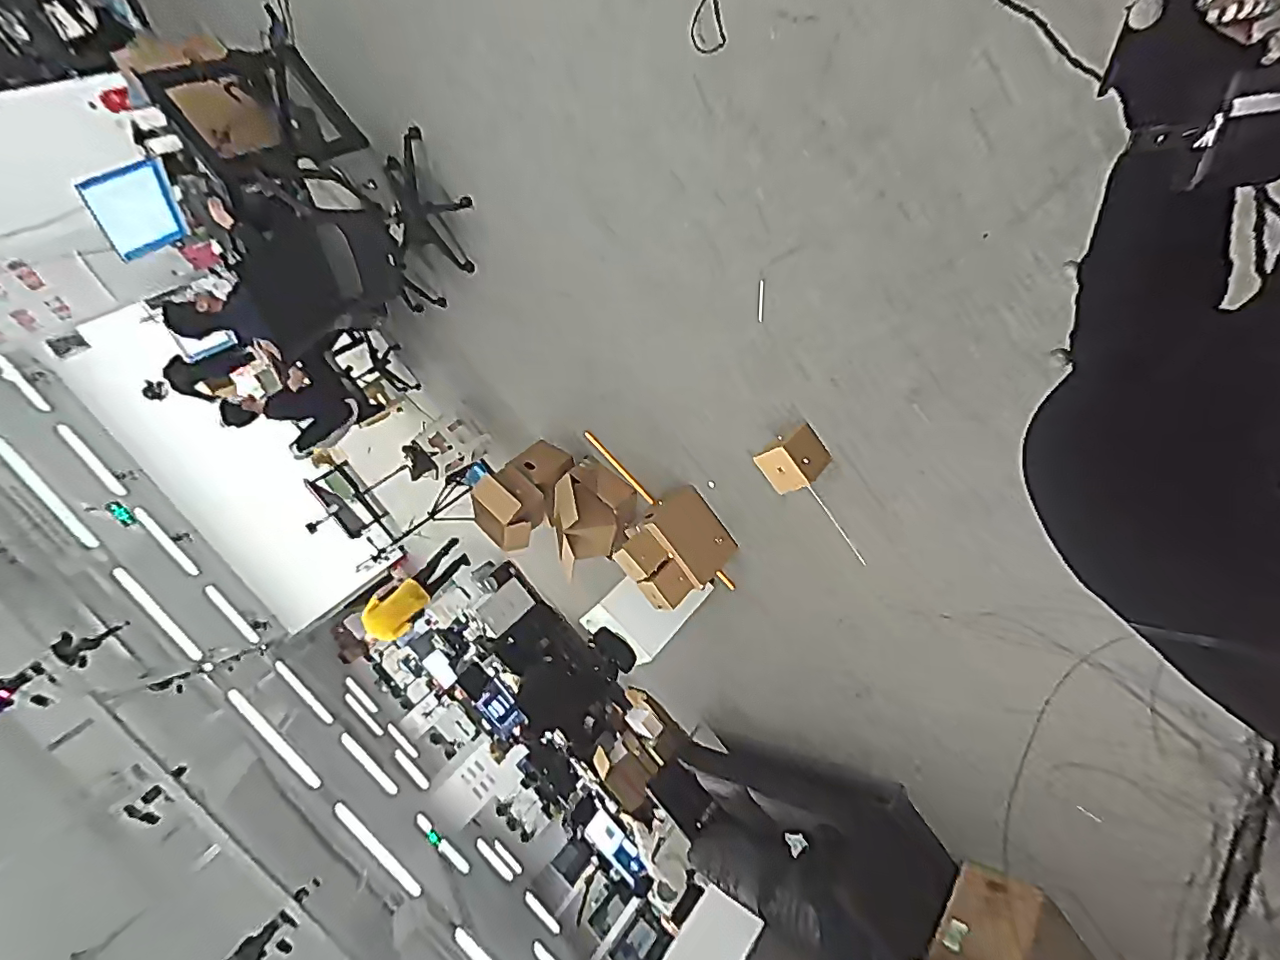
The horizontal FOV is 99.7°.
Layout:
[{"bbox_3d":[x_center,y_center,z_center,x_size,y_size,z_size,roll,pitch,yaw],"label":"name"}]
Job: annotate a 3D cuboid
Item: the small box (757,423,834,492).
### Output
[{"bbox_3d":[0.569,-0.087,1.976,0.179,0.176,0.168,51,150,-7],"label":"small box"}]
